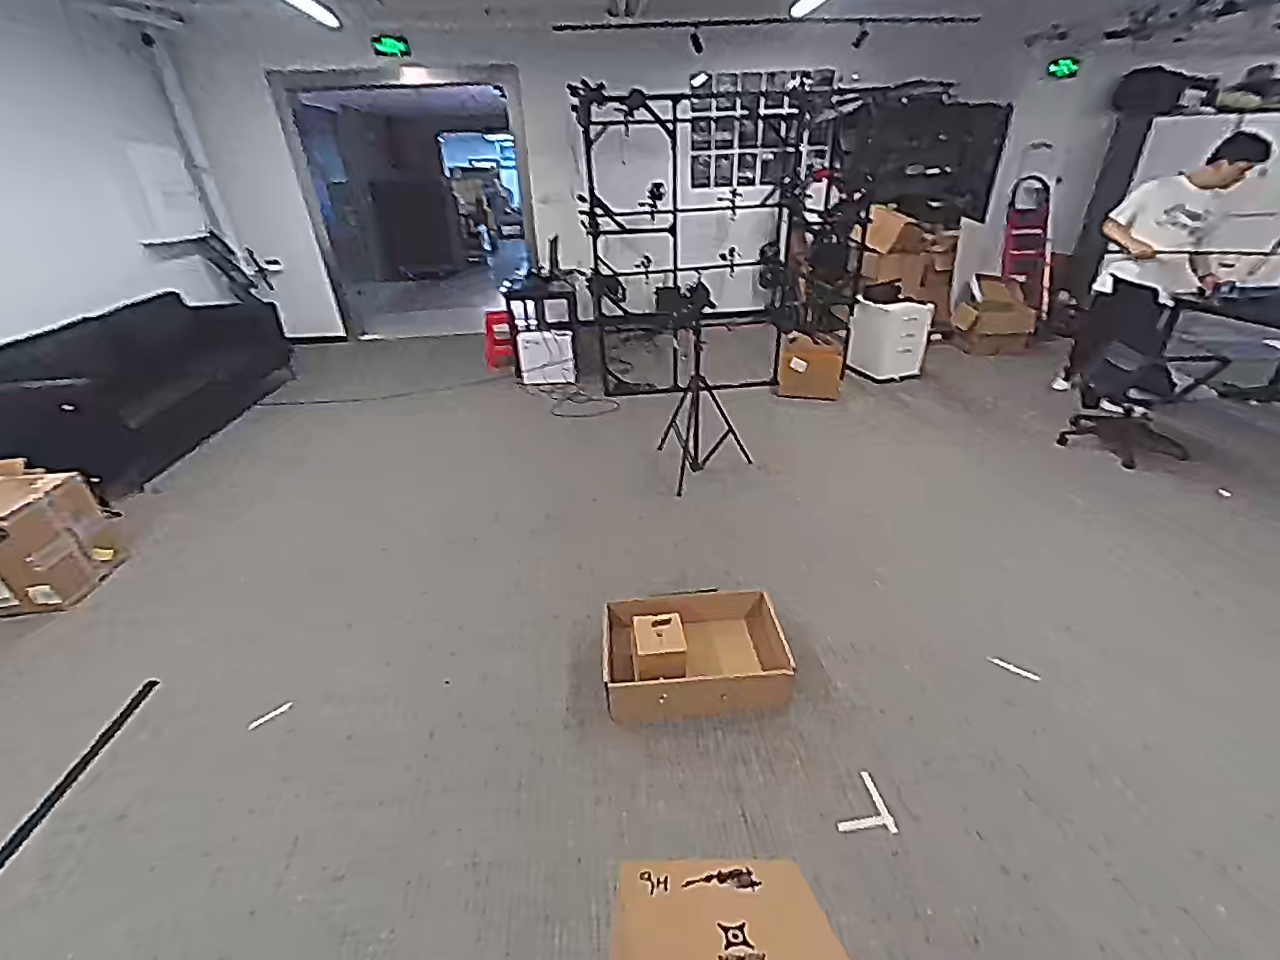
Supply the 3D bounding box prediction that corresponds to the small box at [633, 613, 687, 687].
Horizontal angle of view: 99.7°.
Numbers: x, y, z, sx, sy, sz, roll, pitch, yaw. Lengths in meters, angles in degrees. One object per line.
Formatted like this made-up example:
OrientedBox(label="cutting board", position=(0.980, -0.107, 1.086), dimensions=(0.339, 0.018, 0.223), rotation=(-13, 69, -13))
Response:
OrientedBox(label="small box", position=(0.065, 0.590, 1.878), dimensions=(0.168, 0.176, 0.179), rotation=(-4, 30, -5))
